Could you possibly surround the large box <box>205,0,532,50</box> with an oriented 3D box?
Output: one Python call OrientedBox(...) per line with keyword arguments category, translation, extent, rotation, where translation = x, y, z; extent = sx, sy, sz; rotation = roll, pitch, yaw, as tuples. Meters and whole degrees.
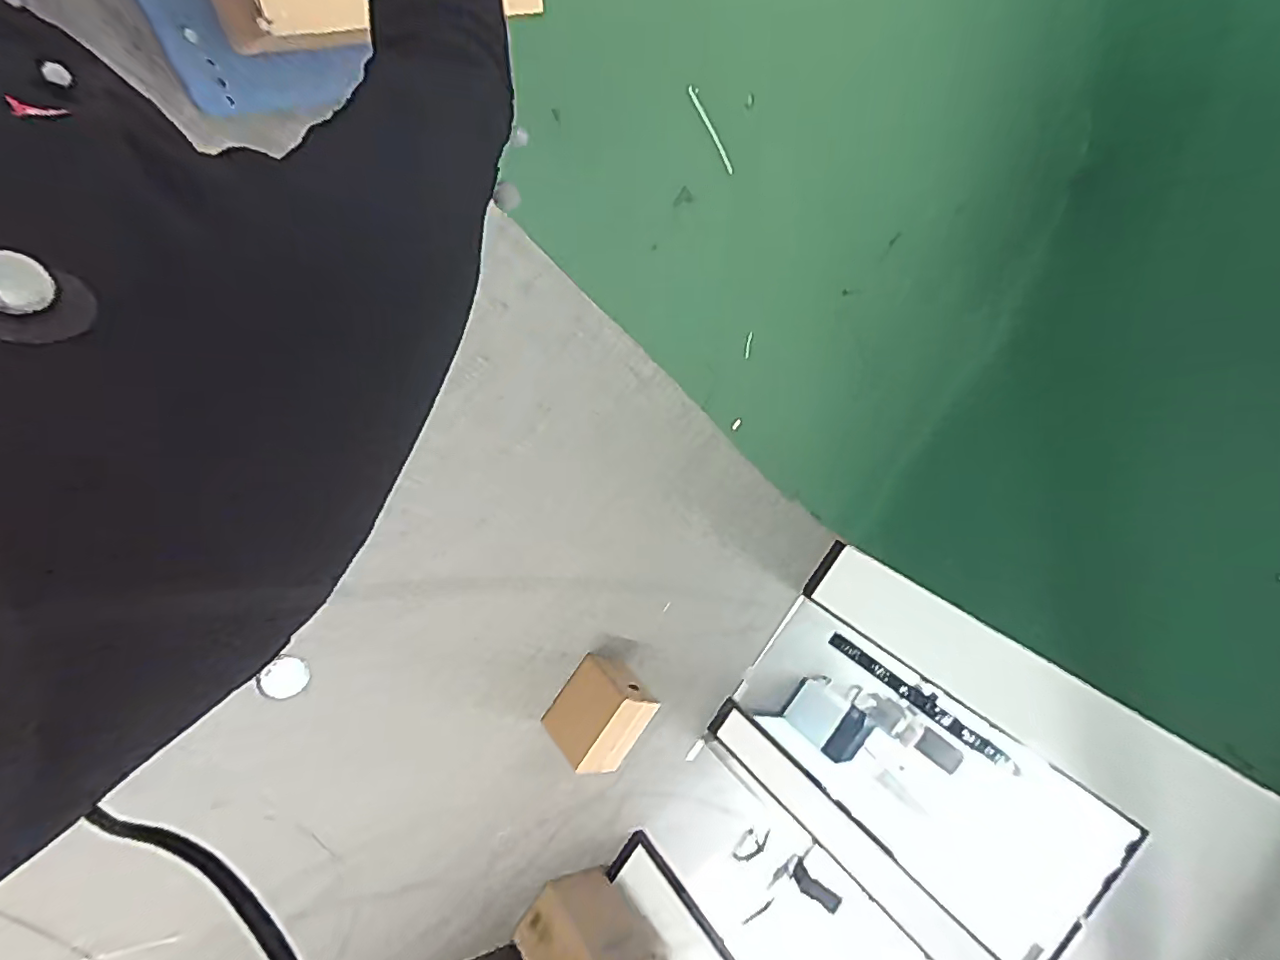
OrientedBox(category="large box", translation=(-0.426, -0.826, 0.759), extent=(0.408, 0.320, 0.320), rotation=(-30, 133, -26))
